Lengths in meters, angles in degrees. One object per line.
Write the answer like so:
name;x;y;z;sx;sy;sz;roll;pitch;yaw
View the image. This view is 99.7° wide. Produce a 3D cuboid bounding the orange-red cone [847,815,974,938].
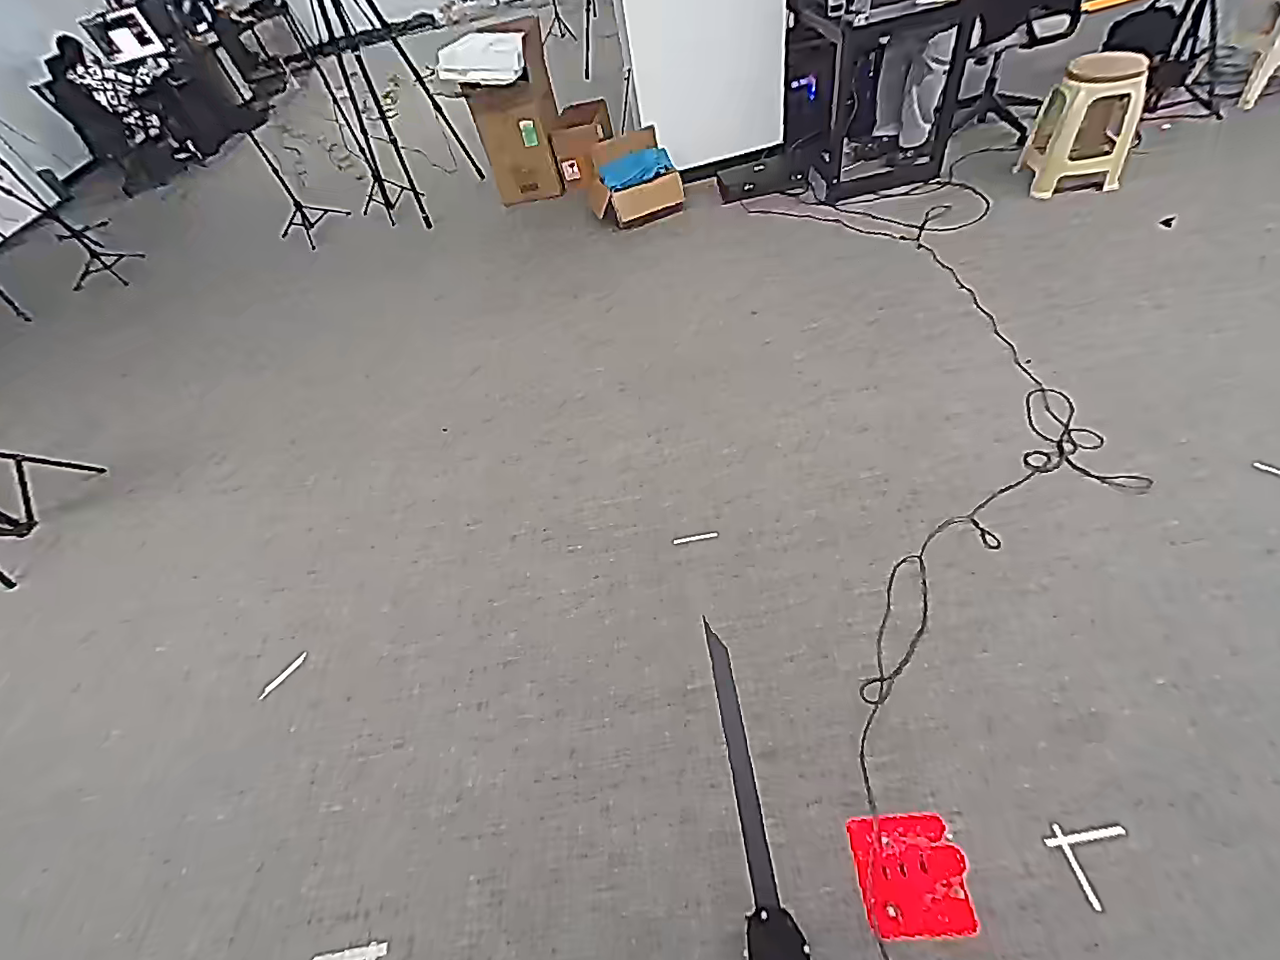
orange-red cone;0.502;0.681;0.946;0.199;0.360;0.198;-7;51;7
